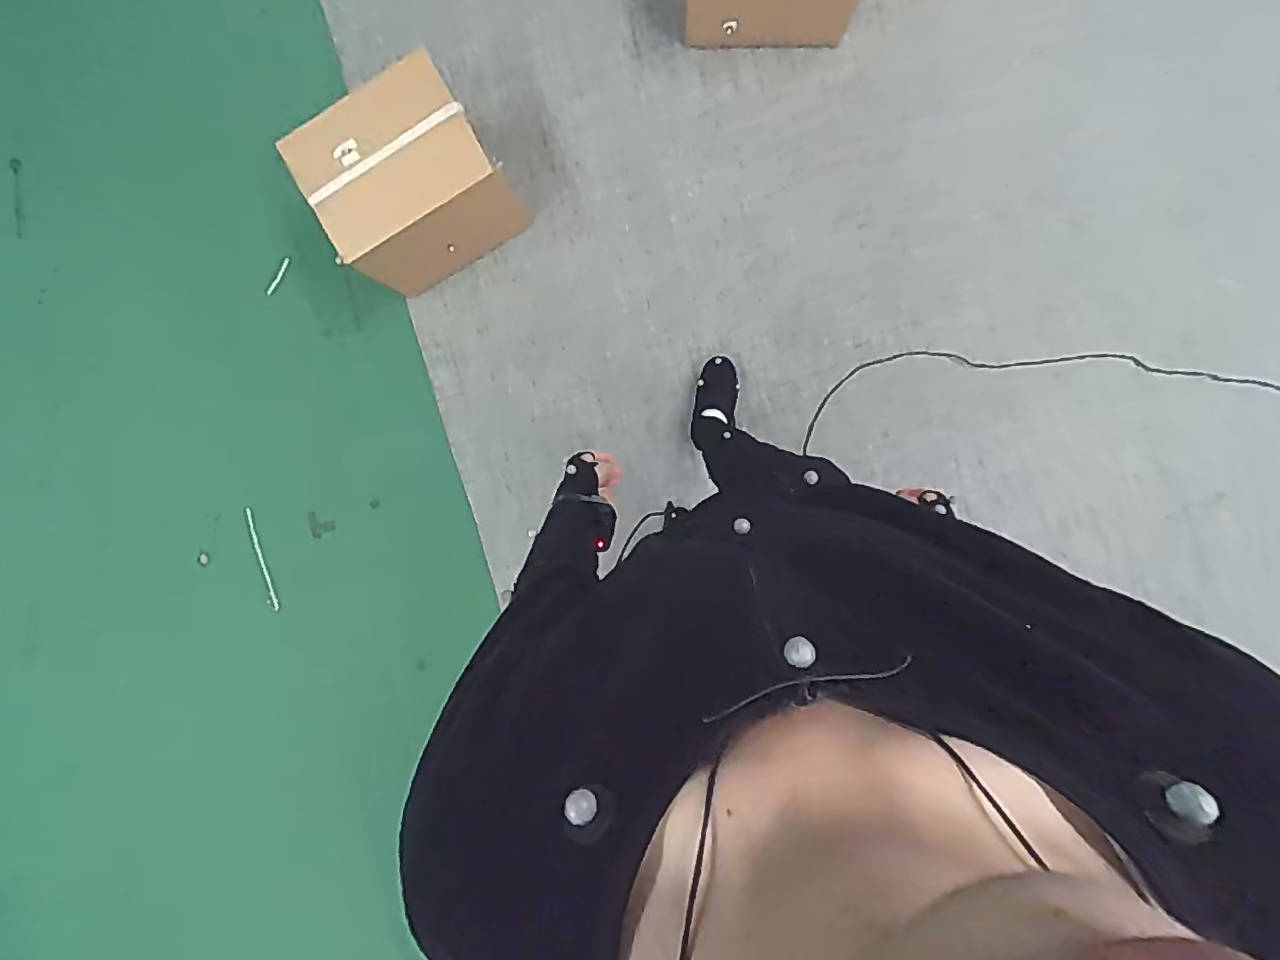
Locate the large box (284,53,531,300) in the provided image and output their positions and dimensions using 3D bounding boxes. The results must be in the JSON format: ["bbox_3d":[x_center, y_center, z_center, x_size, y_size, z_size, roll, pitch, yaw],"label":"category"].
[{"bbox_3d":[-0.548,-0.716,1.348,0.408,0.320,0.320,-29,91,6],"label":"large box"}]
